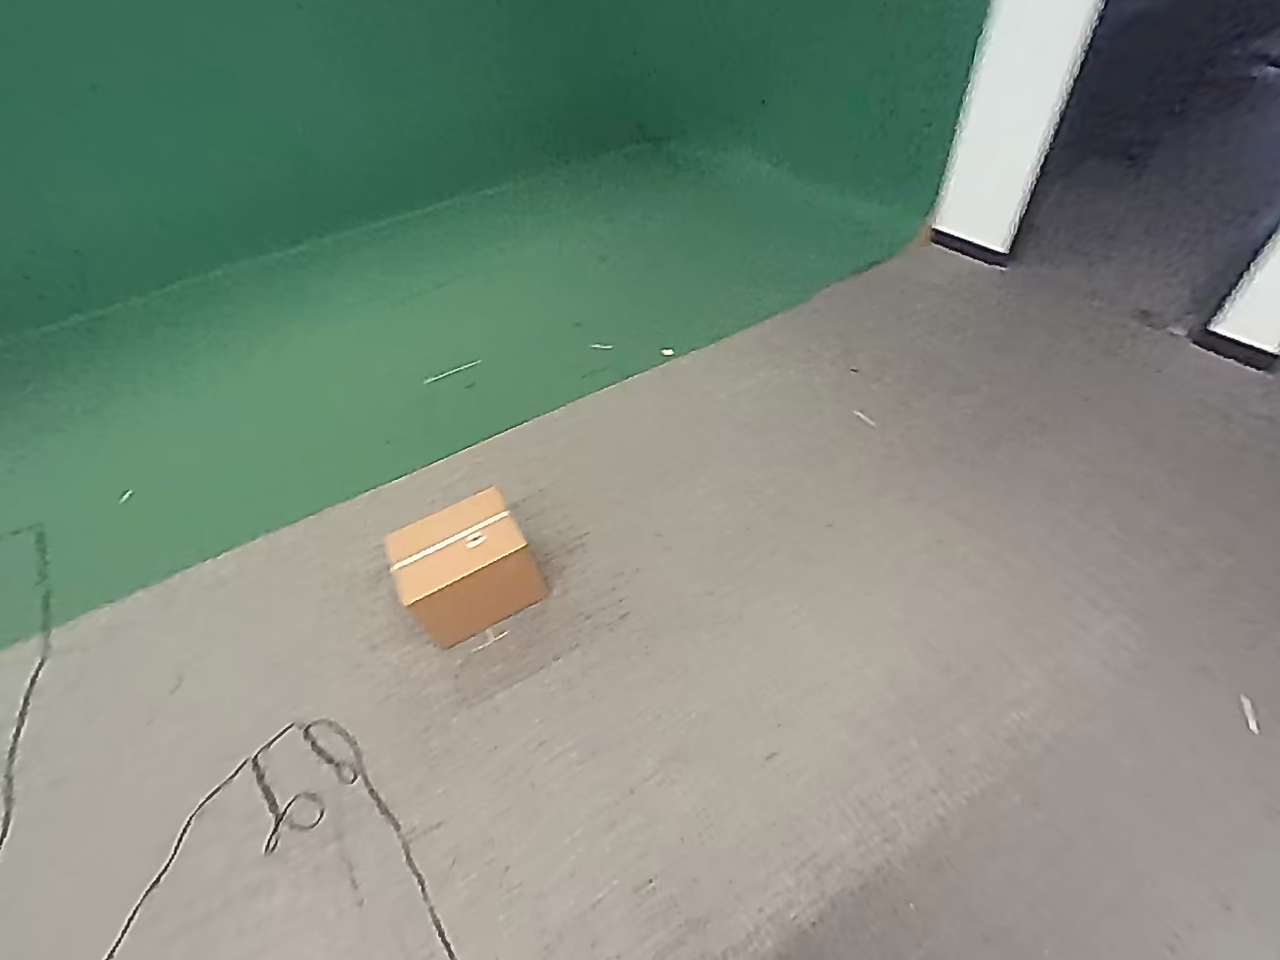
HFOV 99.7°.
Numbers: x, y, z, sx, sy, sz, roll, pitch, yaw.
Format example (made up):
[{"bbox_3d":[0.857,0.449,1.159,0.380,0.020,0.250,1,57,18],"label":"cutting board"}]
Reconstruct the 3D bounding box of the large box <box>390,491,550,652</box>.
[{"bbox_3d":[-0.580,0.315,1.879,0.408,0.320,0.320,-27,49,-16],"label":"large box"}]
